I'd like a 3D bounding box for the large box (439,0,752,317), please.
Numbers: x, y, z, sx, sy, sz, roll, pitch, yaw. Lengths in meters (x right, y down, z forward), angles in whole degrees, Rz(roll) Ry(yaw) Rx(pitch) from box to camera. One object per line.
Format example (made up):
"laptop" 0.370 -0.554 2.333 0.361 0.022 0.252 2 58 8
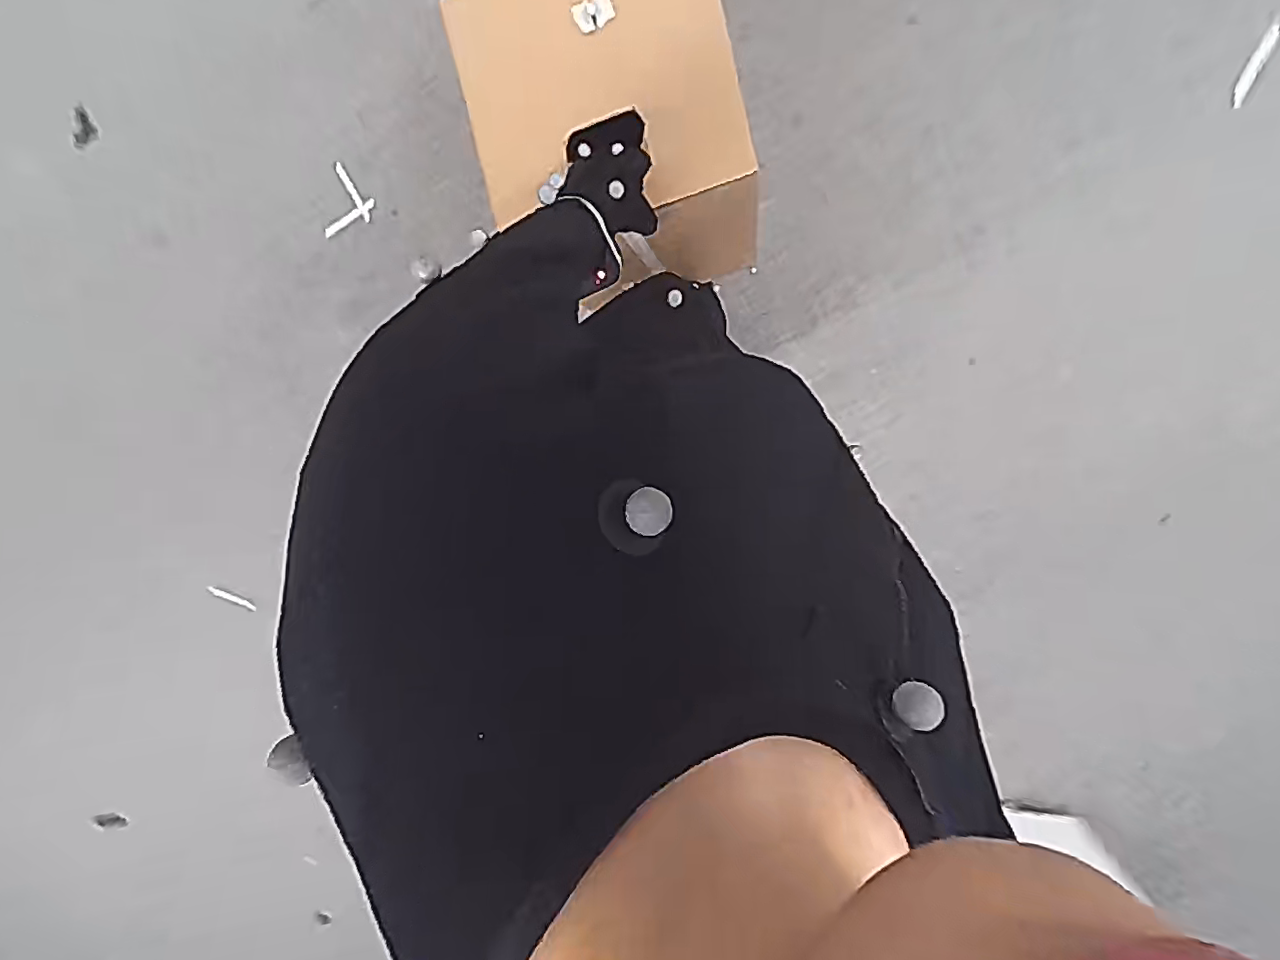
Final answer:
"large box" -0.024 -0.469 0.816 0.320 0.408 0.320 -14 96 14
